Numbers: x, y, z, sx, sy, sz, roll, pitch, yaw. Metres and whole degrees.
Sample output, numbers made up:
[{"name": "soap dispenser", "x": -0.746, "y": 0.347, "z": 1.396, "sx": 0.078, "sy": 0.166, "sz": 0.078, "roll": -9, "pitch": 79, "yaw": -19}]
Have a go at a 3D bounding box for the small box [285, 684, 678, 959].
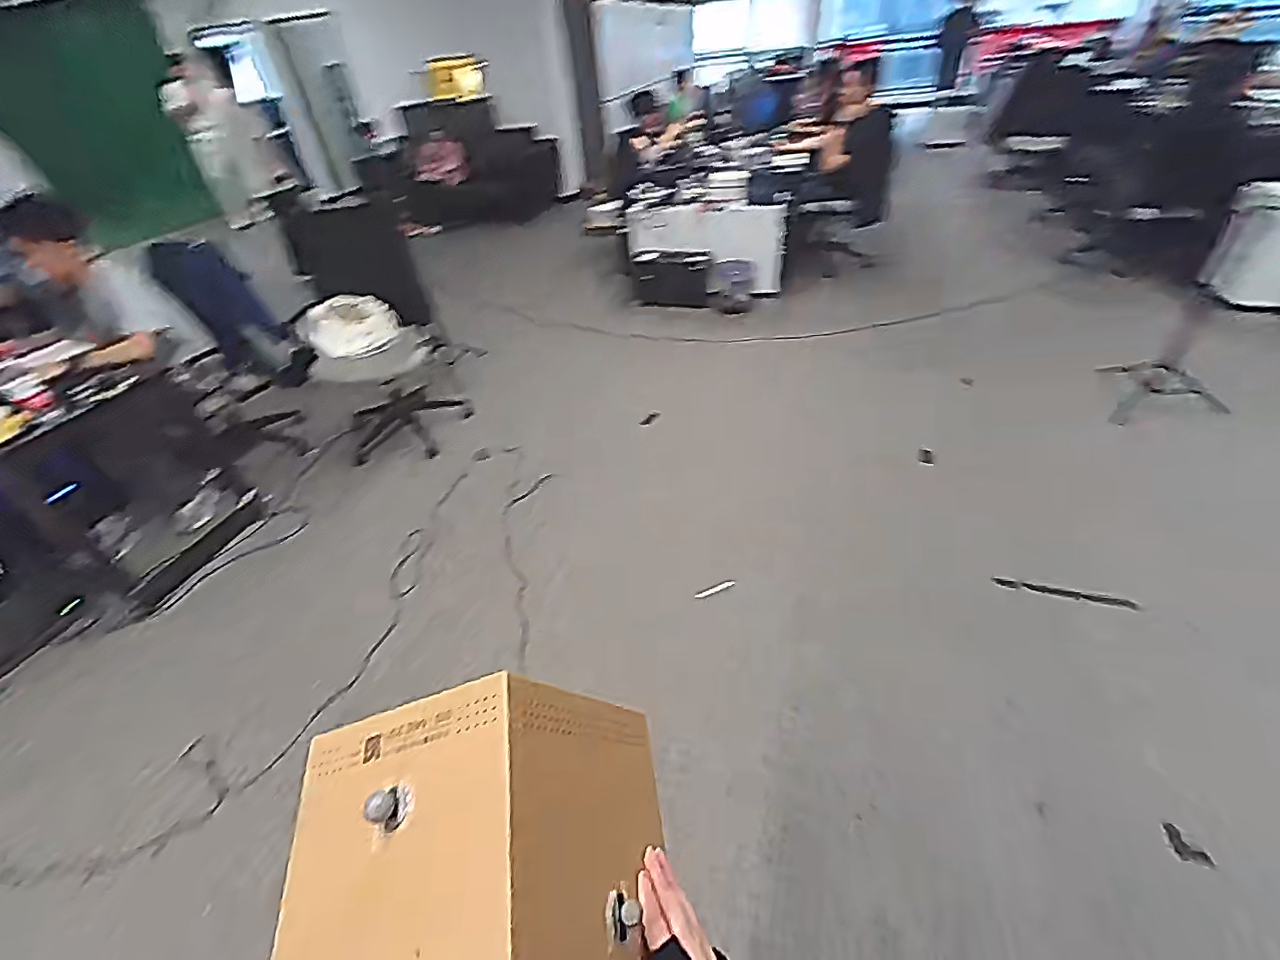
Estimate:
[{"name": "small box", "x": -0.090, "y": 0.245, "z": 0.356, "sx": 0.168, "sy": 0.179, "sz": 0.176, "roll": -23, "pitch": 52, "yaw": 18}]
